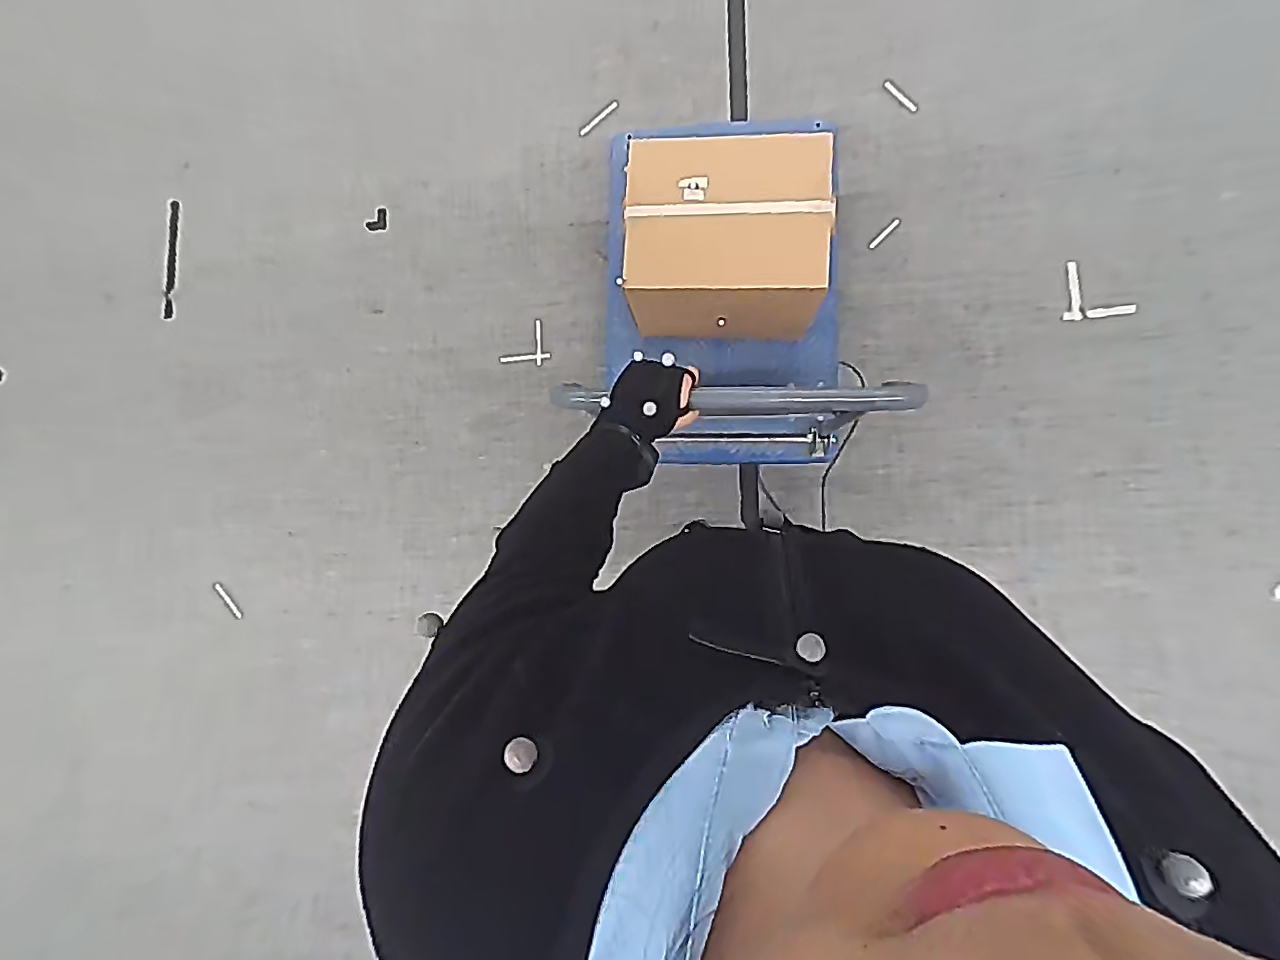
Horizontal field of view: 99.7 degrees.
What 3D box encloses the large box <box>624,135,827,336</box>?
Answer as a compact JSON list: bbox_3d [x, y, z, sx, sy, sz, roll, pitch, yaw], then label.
[{"bbox_3d":[0.192,-0.524,1.231,0.408,0.320,0.320,2,86,9],"label":"large box"}]
